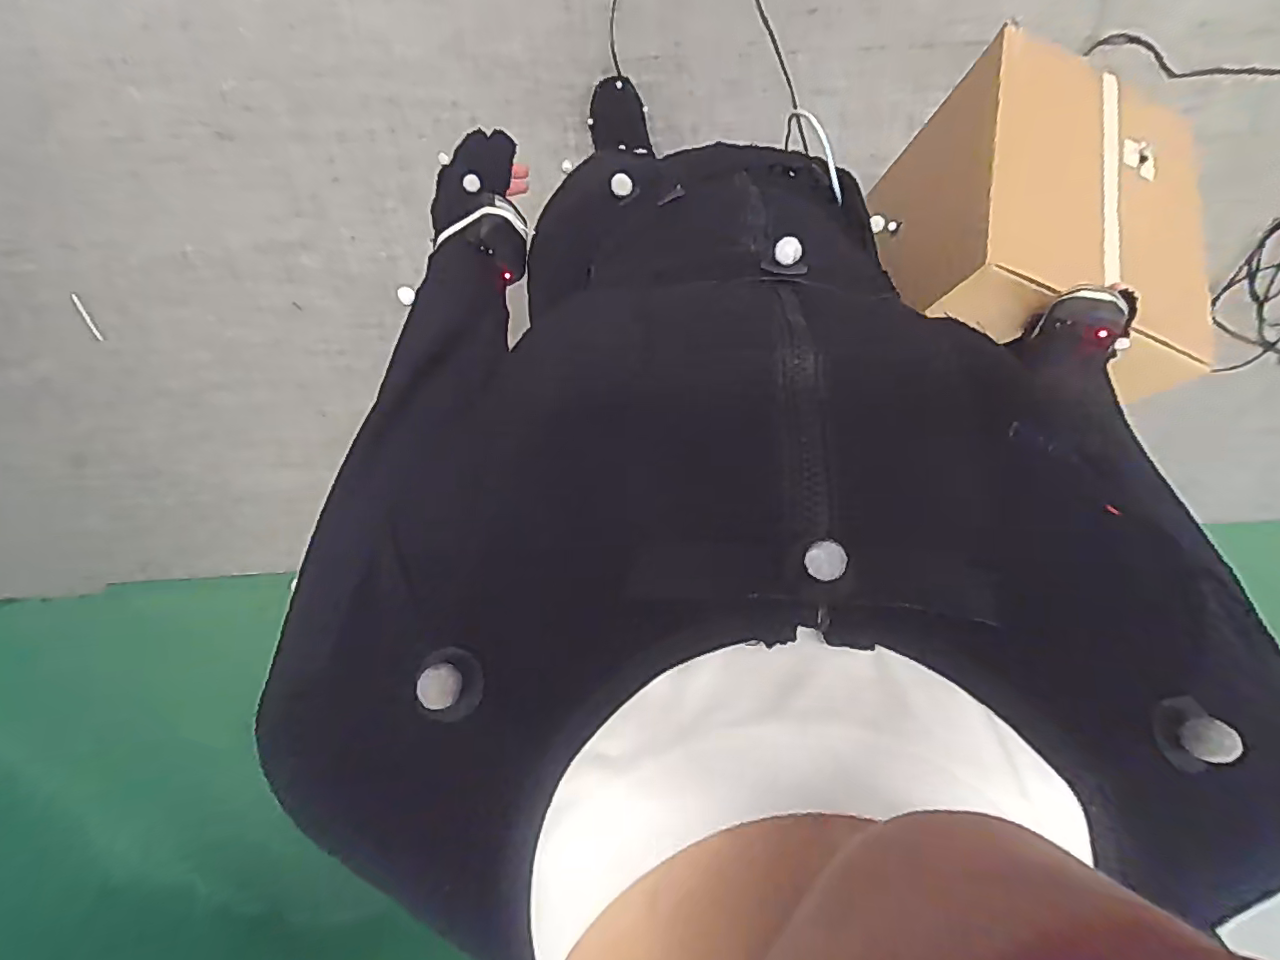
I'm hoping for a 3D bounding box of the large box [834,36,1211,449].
[{"bbox_3d":[0.525,-0.311,0.799,0.320,0.408,0.320,20,160,-9],"label":"large box"}]
